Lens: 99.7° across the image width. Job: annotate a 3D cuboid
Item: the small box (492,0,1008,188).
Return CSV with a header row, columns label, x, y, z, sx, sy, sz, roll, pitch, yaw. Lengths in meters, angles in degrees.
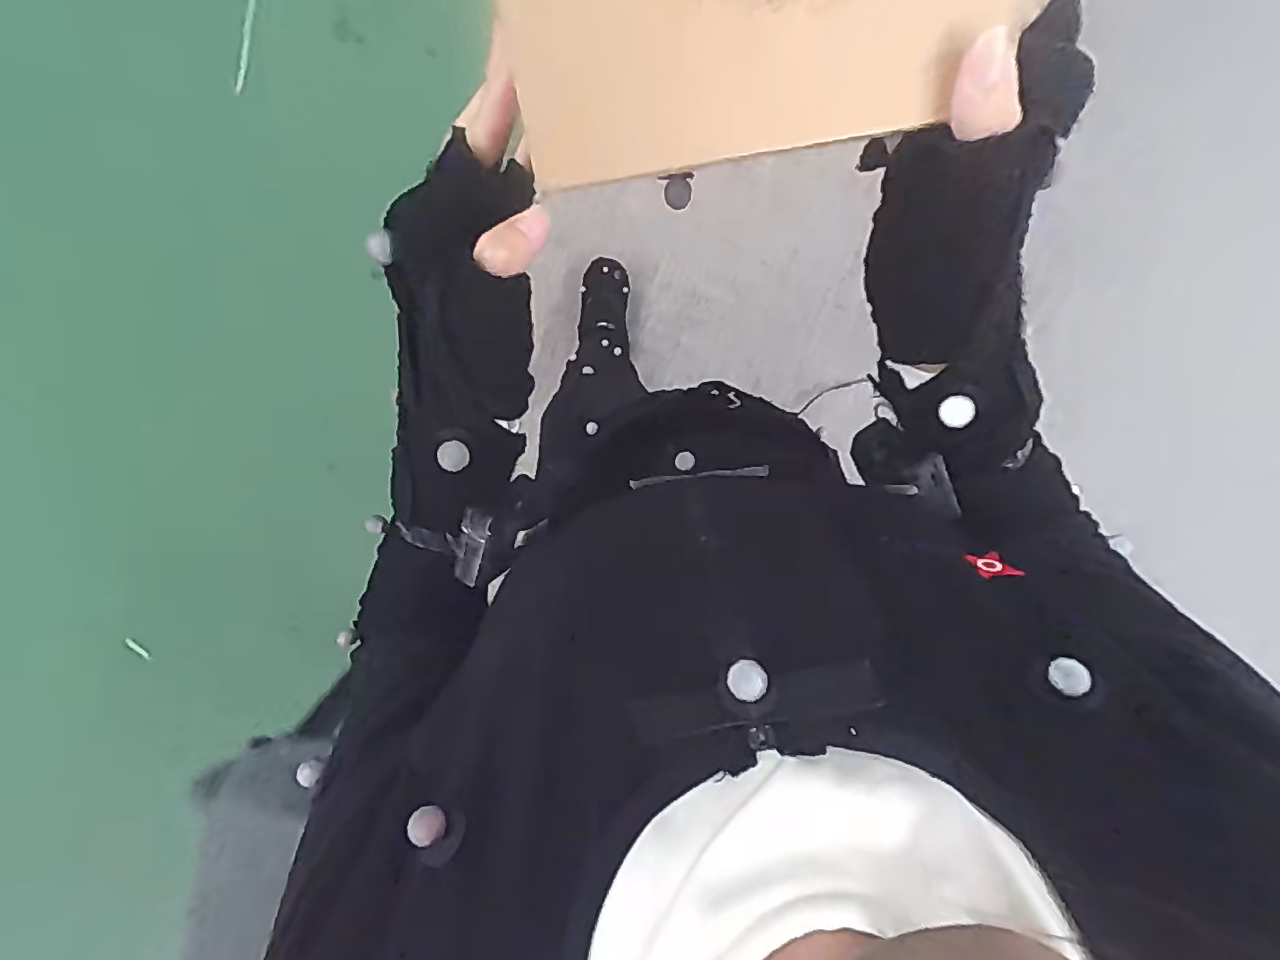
label,x,y,z,sx,sy,sz,roll,pitch,yaw
small box,0.022,-0.227,0.217,0.168,0.176,0.179,-11,119,-1
